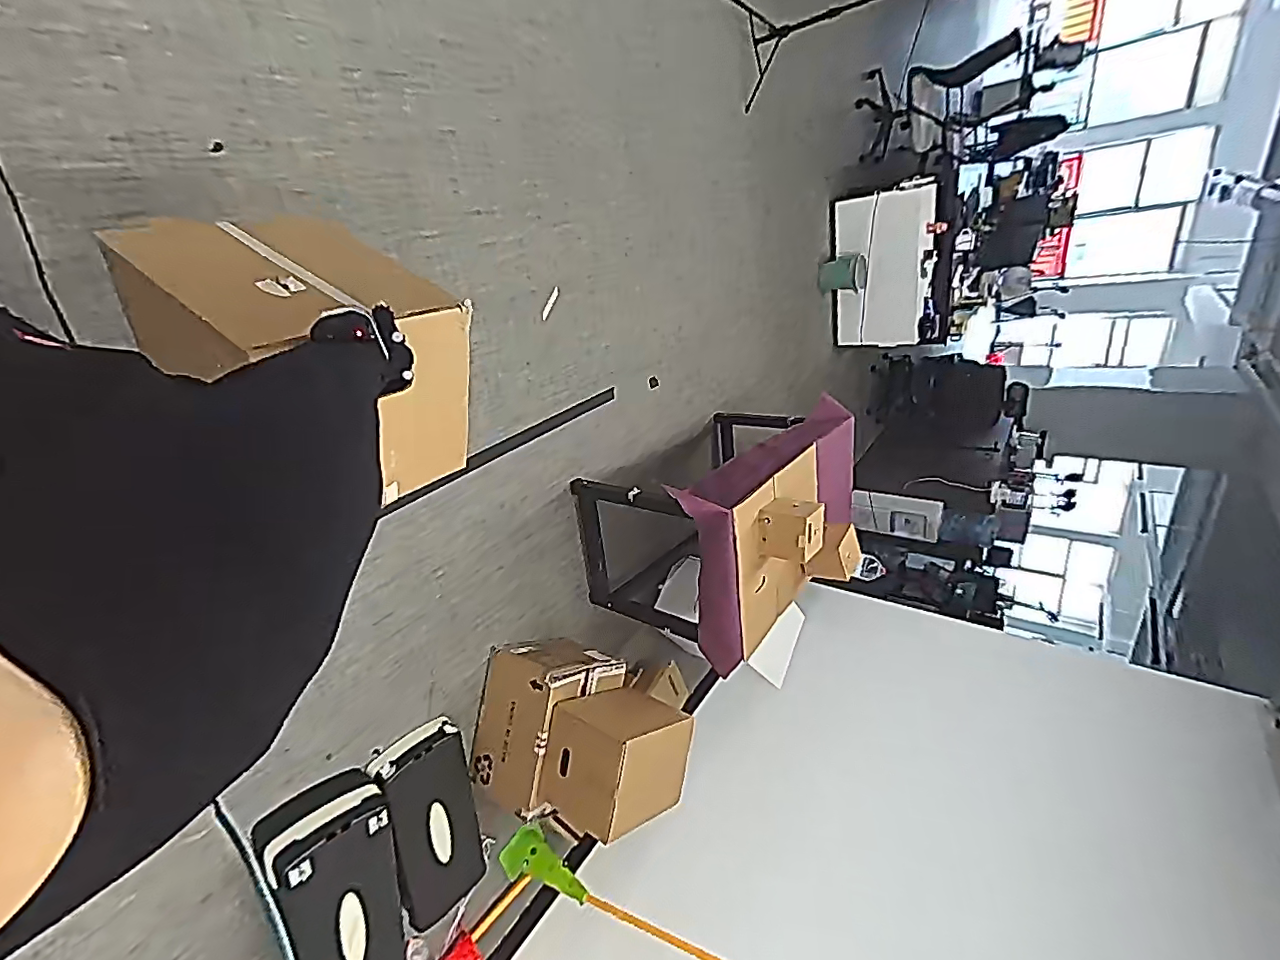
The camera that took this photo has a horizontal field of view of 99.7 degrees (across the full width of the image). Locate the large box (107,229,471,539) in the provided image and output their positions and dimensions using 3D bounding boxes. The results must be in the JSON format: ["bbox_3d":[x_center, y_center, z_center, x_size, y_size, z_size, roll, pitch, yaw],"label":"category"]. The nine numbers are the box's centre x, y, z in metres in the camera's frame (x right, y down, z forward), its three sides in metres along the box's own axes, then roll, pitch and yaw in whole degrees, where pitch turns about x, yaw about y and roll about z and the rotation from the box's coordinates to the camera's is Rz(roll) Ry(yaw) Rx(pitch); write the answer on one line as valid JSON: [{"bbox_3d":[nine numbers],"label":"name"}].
[{"bbox_3d":[-0.540,-0.178,0.887,0.320,0.408,0.320,-36,151,-46],"label":"large box"}]
